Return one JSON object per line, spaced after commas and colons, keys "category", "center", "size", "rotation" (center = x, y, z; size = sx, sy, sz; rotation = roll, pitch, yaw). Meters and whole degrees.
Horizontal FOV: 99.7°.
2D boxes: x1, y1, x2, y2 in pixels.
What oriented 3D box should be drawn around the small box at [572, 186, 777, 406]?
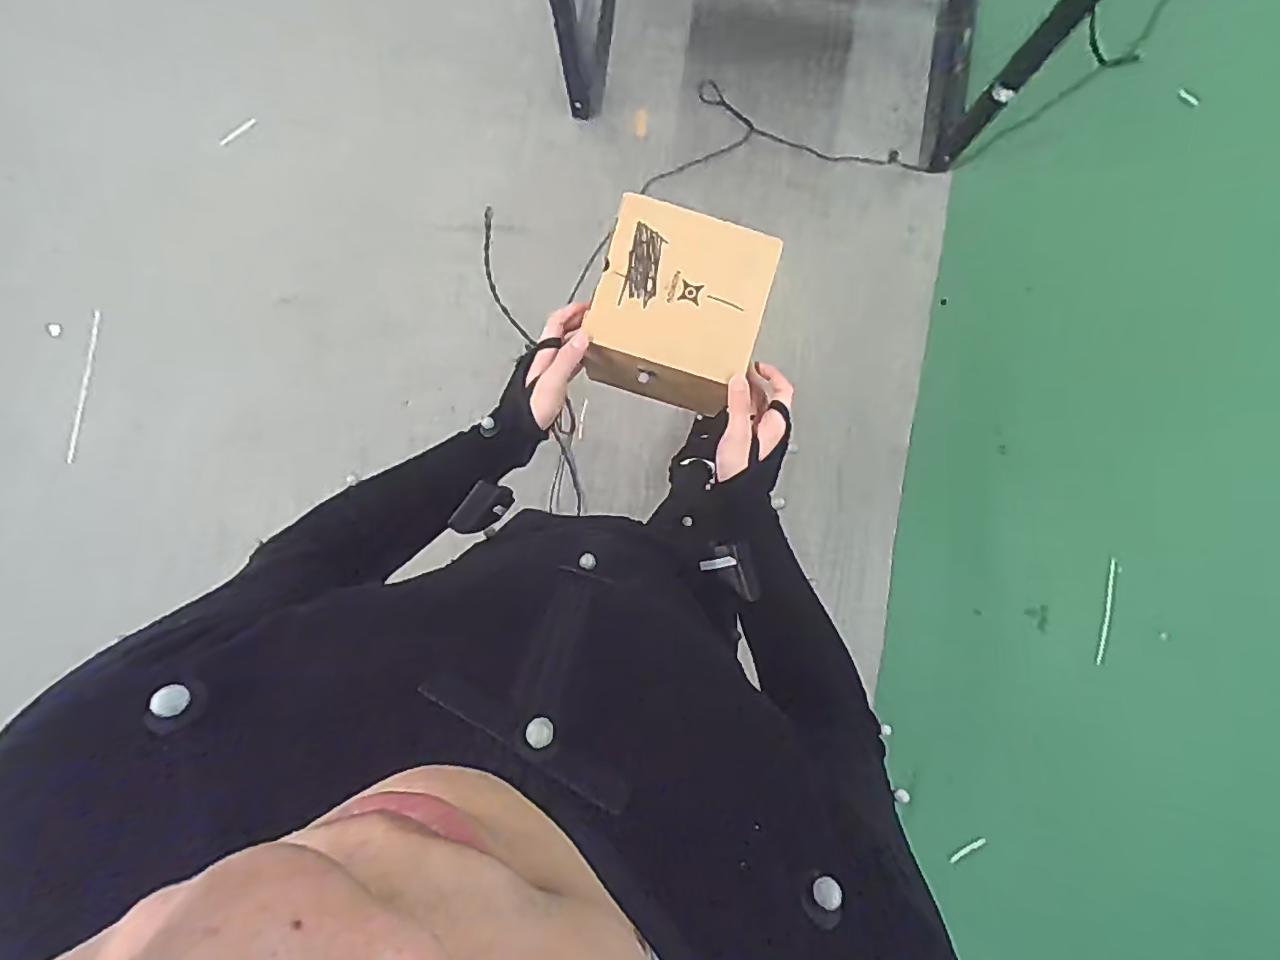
{"category": "small box", "center": [0.033, -0.195, 0.628], "size": [0.179, 0.176, 0.168], "rotation": [17, 86, -1]}
